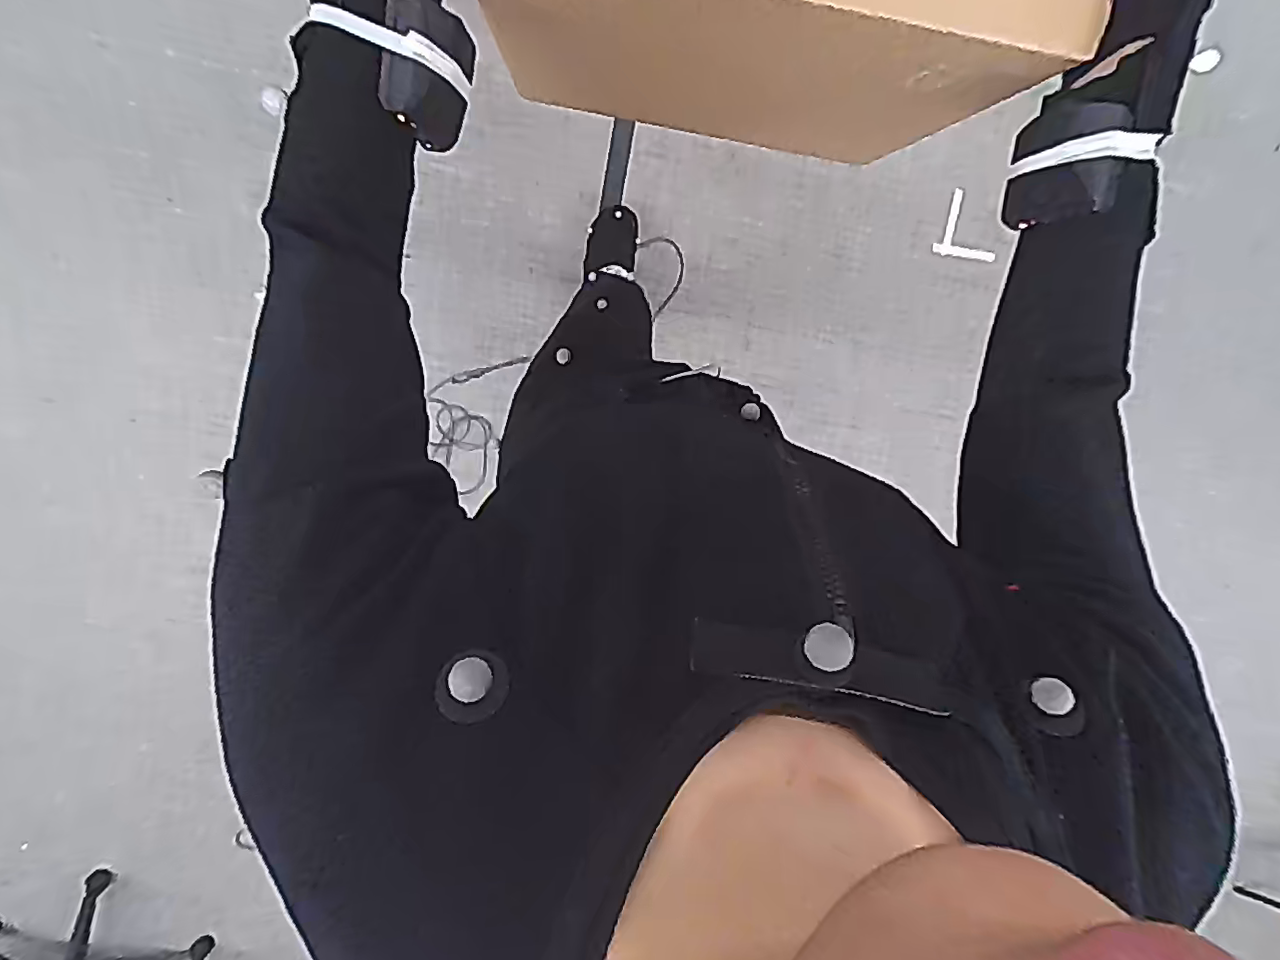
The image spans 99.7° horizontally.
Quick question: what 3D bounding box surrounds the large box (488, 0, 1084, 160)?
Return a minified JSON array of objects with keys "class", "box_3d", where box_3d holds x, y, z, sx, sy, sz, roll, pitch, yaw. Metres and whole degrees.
[{"class":"large box","box_3d":[0.095,-0.491,0.430,0.408,0.320,0.320,7,109,-7]}]
